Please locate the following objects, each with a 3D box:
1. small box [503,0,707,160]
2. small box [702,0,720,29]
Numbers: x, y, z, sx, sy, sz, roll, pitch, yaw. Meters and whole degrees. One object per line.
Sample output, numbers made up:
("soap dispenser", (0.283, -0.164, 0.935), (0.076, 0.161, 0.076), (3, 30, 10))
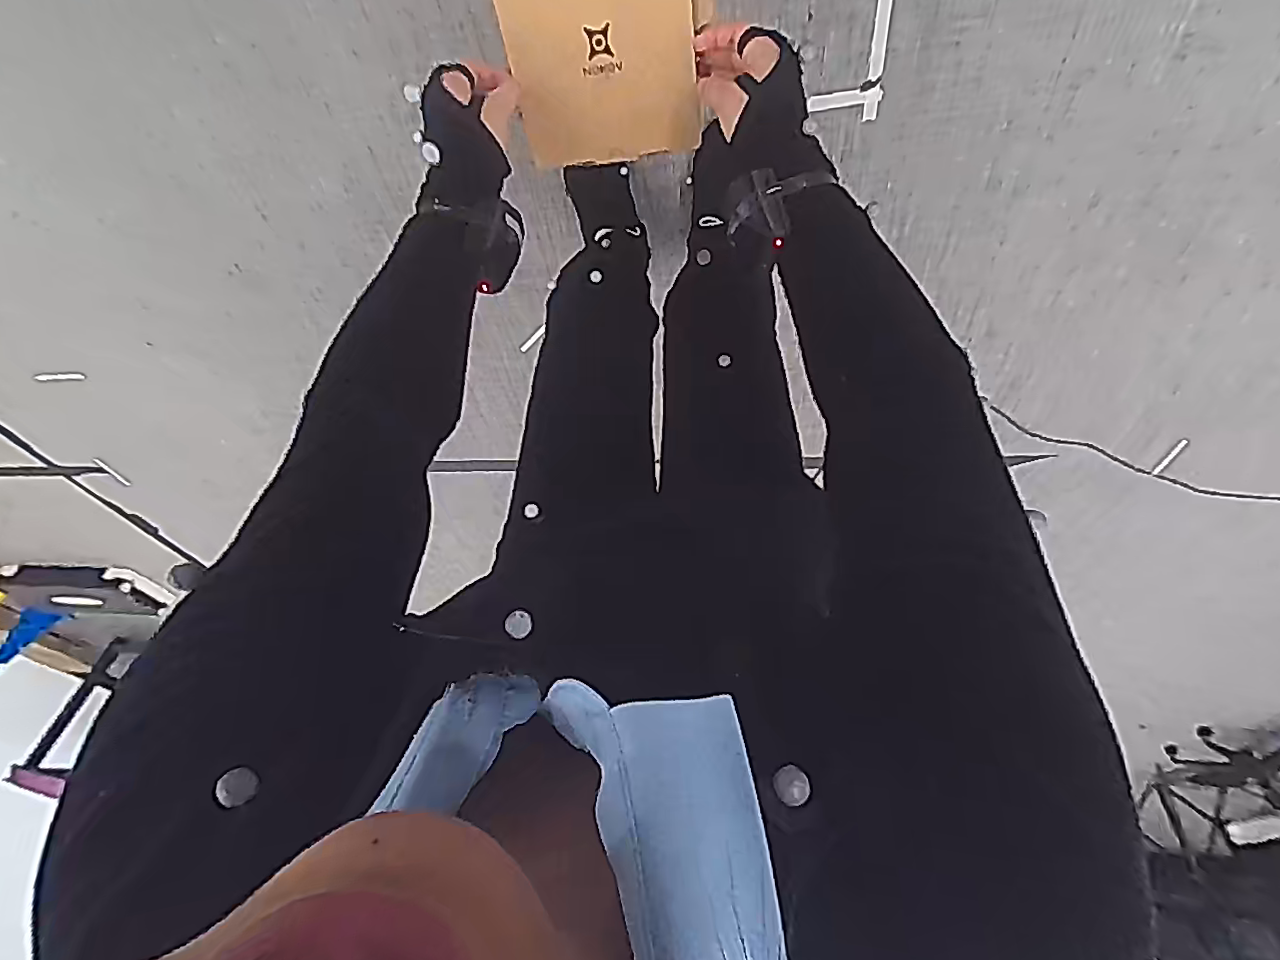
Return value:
("small box", (-0.024, -0.437, 0.516), (0.168, 0.176, 0.179), (-2, 138, 9))
("small box", (0.001, -0.664, 0.674), (0.168, 0.176, 0.179), (-8, 139, 17))
